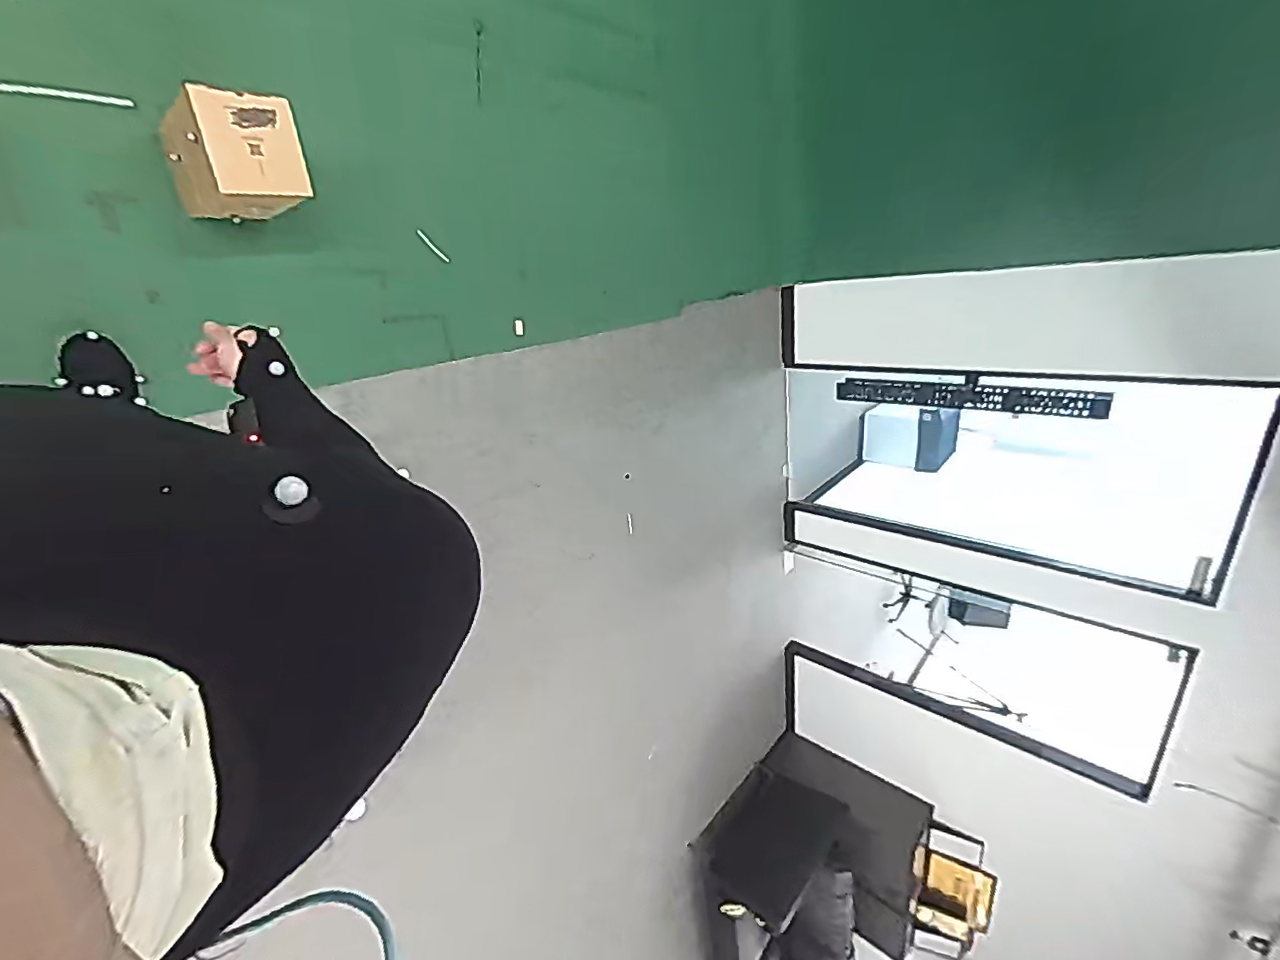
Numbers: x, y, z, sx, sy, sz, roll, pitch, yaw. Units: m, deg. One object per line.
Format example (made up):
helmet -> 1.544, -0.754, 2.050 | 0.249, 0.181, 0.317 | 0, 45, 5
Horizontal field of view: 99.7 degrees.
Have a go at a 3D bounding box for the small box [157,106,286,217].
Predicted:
small box -> -0.921, -0.689, 1.189 | 0.168, 0.176, 0.179 | -25, 119, -42

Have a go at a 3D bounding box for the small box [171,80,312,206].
small box -> -0.798, -0.661, 1.083 | 0.168, 0.176, 0.179 | -26, 119, -42
